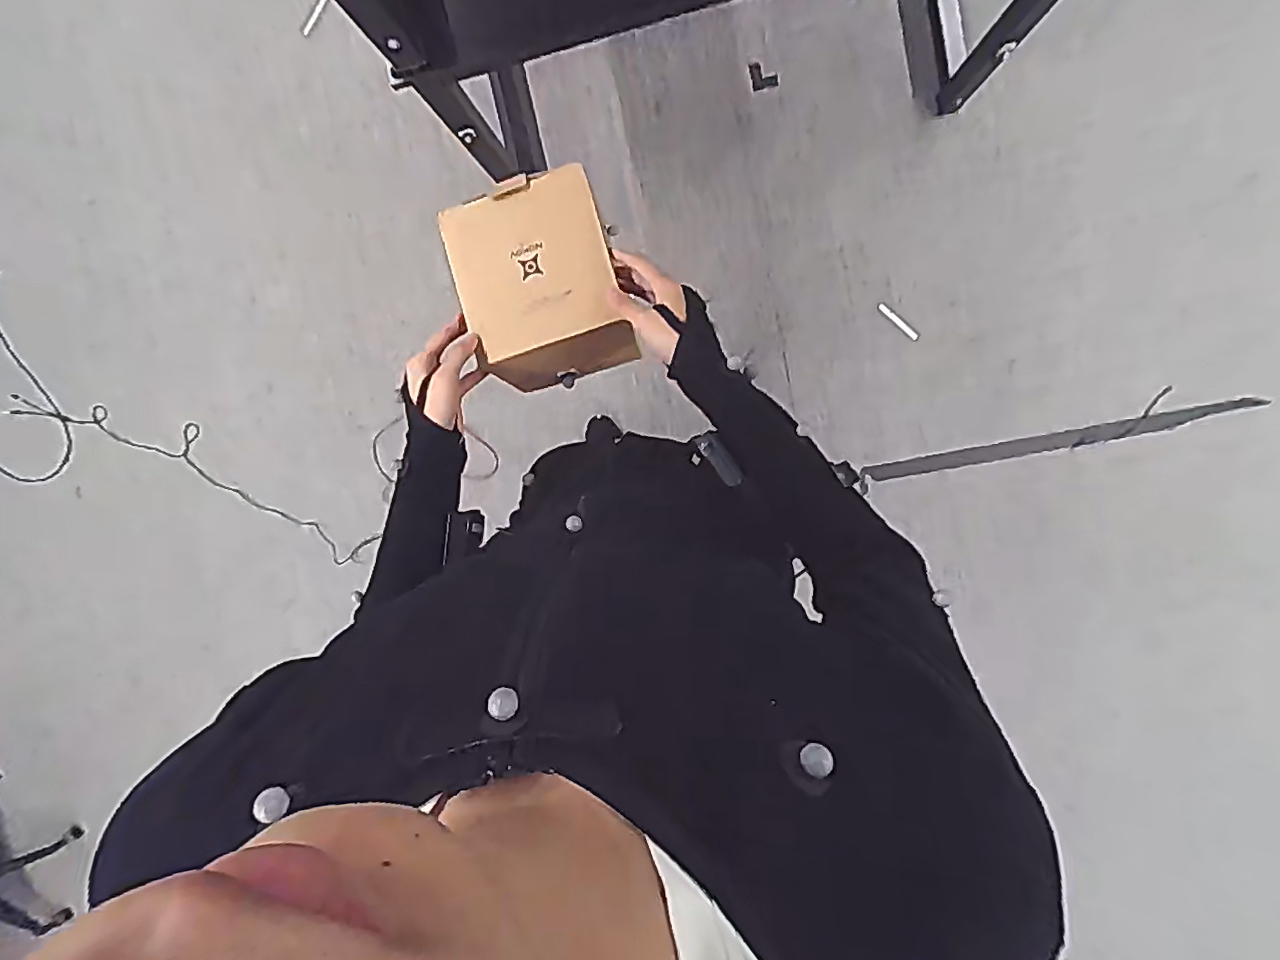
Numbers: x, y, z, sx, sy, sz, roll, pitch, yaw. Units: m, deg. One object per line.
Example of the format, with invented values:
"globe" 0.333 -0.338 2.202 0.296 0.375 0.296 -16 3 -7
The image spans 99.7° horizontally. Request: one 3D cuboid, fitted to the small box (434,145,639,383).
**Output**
"small box" -0.106 -0.230 0.623 0.168 0.176 0.179 -16 87 5
